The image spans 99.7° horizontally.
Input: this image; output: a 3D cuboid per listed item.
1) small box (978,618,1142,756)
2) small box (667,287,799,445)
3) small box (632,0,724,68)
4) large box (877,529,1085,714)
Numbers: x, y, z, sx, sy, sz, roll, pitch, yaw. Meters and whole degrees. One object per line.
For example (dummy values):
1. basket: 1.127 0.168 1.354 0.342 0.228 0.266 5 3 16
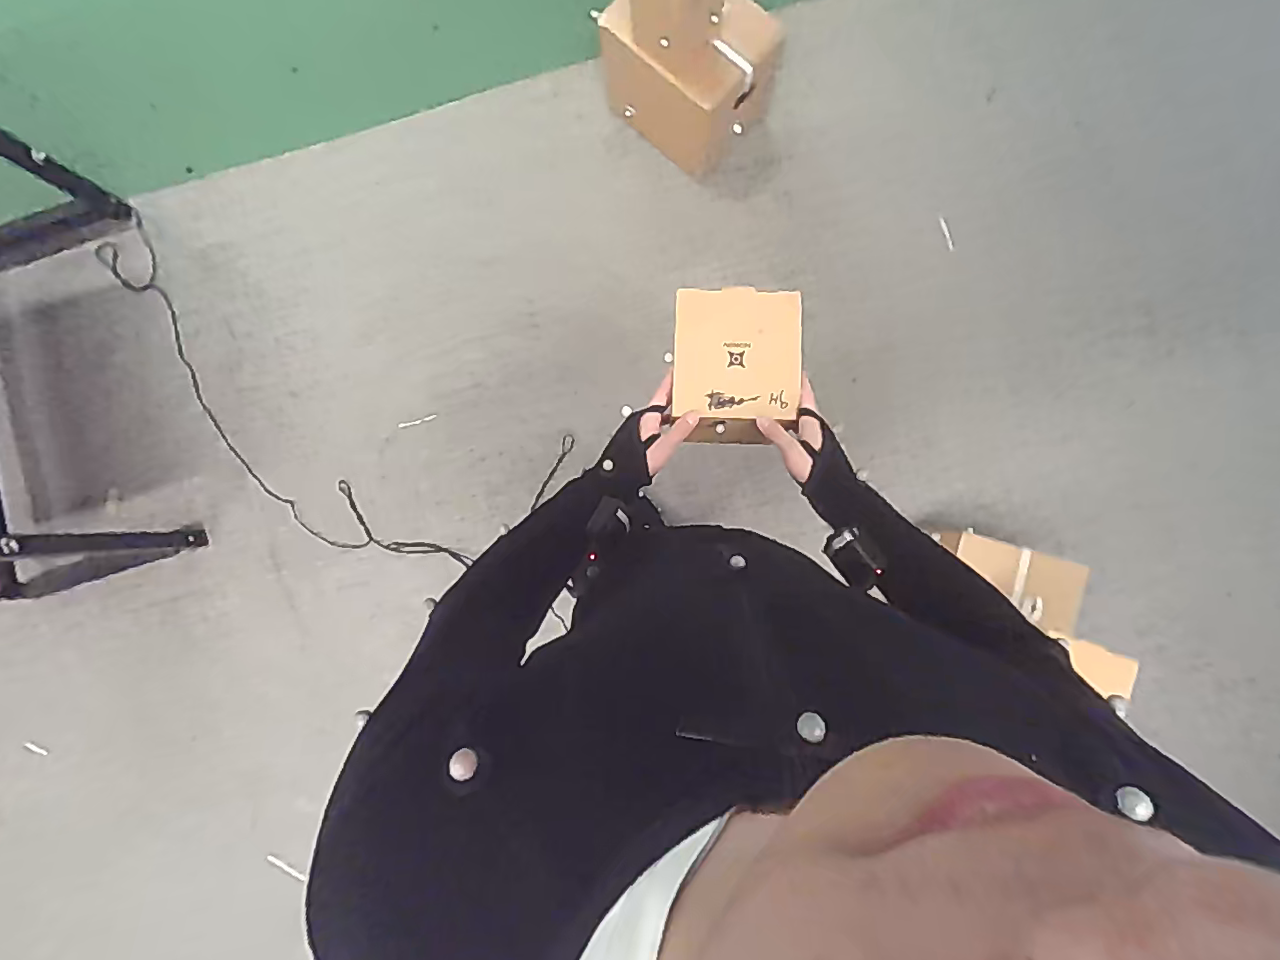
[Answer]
1. small box: 0.789 0.384 1.038 0.168 0.176 0.179 20 86 5
2. small box: 0.124 -0.154 0.772 0.168 0.176 0.179 2 84 3
3. small box: 0.096 -1.172 1.332 0.179 0.176 0.168 43 89 5
4. large box: 0.882 0.365 1.445 0.320 0.320 0.408 16 86 2
